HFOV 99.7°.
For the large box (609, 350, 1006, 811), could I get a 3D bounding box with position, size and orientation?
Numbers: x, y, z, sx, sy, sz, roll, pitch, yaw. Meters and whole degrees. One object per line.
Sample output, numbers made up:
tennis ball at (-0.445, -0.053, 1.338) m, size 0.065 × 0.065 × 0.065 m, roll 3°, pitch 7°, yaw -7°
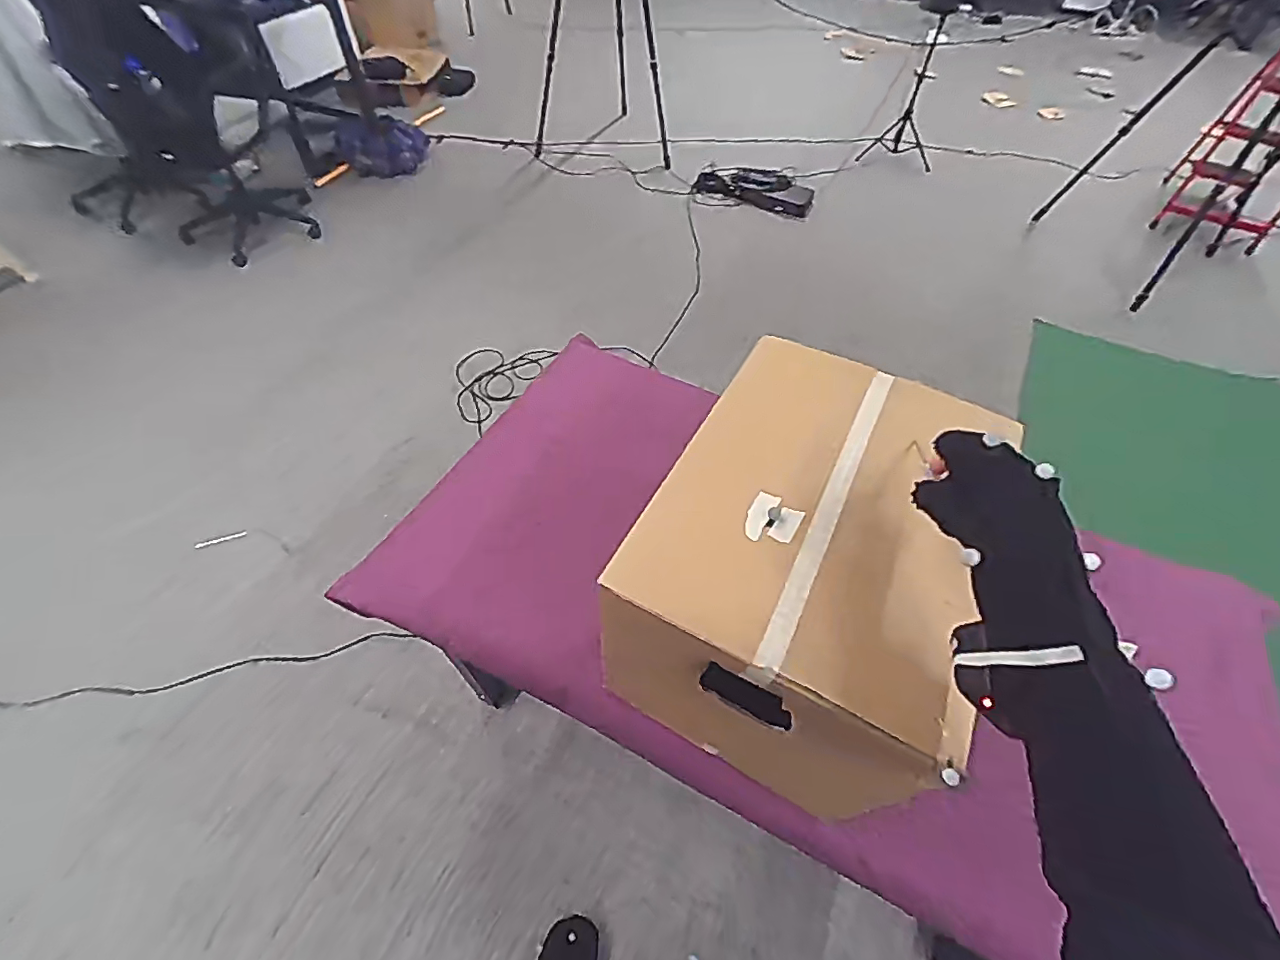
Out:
large box at (0.190, 0.116, 0.676) m, size 0.320 × 0.320 × 0.408 m, roll 25°, pitch 56°, yaw 16°
